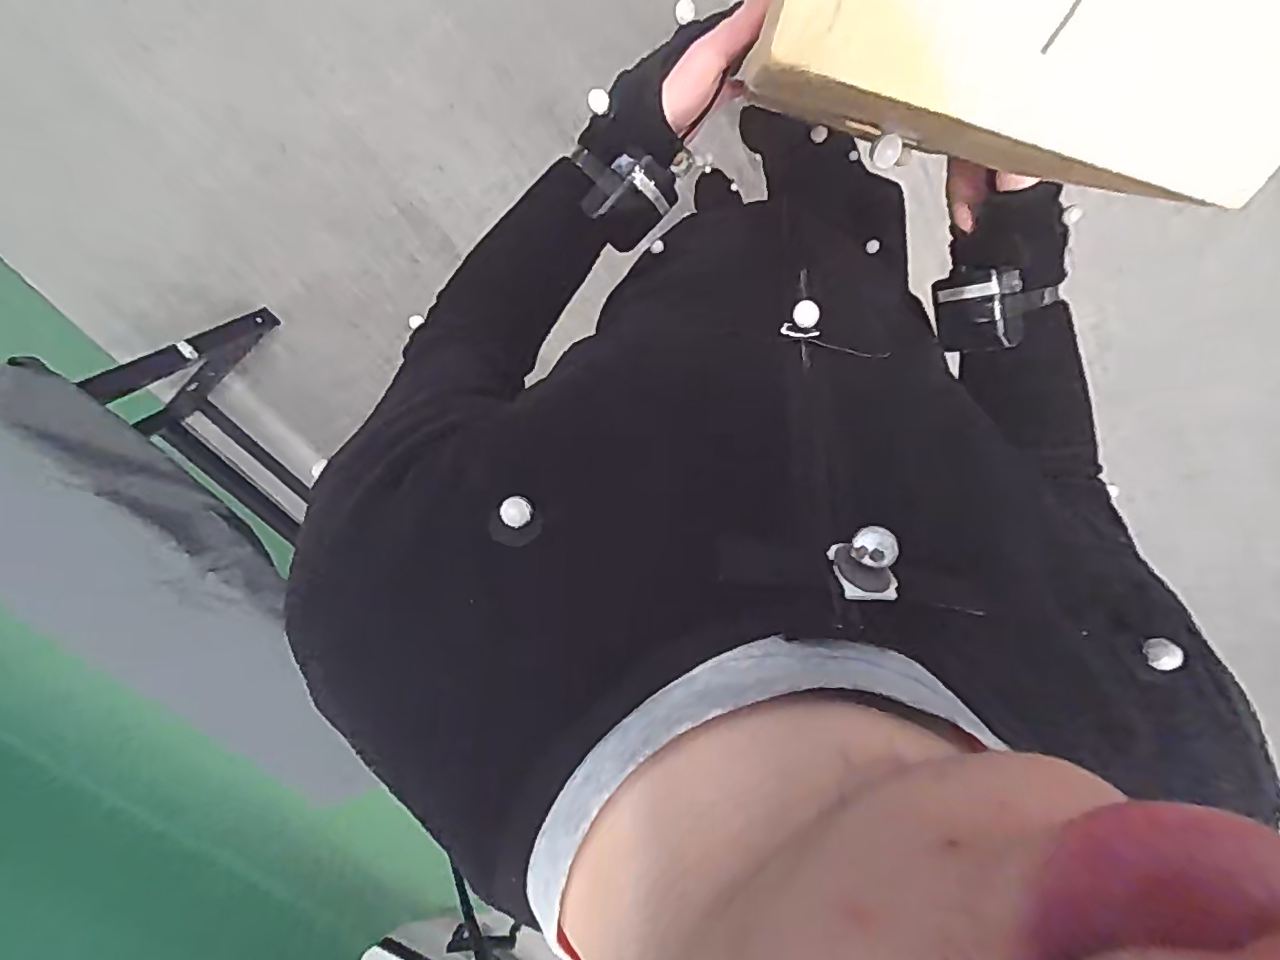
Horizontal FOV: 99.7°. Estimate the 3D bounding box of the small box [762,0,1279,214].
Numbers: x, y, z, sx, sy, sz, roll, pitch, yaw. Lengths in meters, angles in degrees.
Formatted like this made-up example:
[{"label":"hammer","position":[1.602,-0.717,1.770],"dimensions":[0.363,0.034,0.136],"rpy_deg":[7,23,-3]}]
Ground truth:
[{"label":"small box","position":[0.149,-0.221,0.189],"dimensions":[0.168,0.176,0.179],"rpy_deg":[17,125,-2]}]
